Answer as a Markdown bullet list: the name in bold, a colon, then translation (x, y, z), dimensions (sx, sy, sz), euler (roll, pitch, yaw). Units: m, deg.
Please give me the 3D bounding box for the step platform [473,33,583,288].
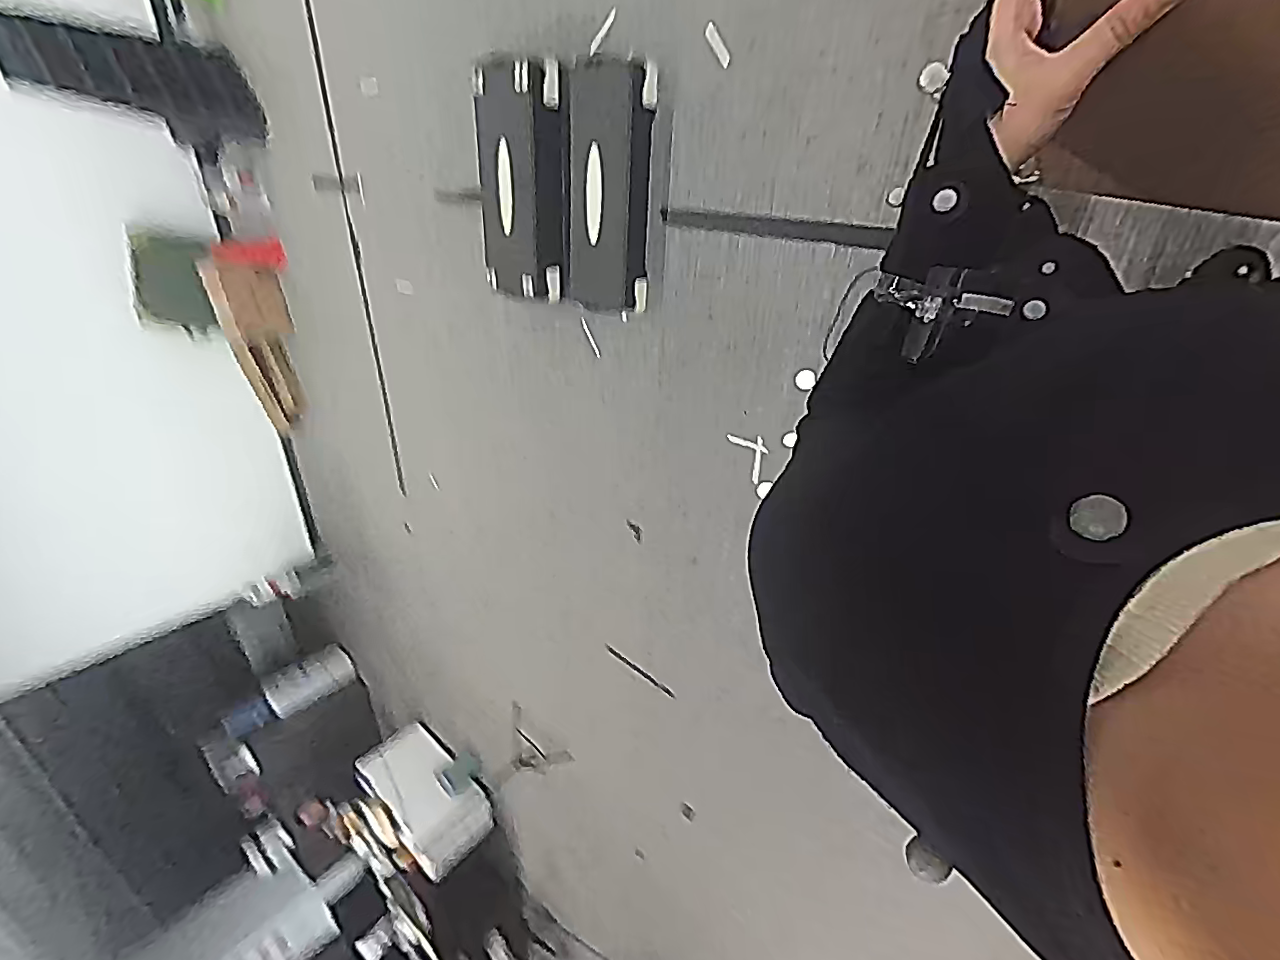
- **step platform**: translation (-0.369, -0.977, 1.713), dimensions (0.286, 0.204, 0.684), euler (30, 127, 29)
